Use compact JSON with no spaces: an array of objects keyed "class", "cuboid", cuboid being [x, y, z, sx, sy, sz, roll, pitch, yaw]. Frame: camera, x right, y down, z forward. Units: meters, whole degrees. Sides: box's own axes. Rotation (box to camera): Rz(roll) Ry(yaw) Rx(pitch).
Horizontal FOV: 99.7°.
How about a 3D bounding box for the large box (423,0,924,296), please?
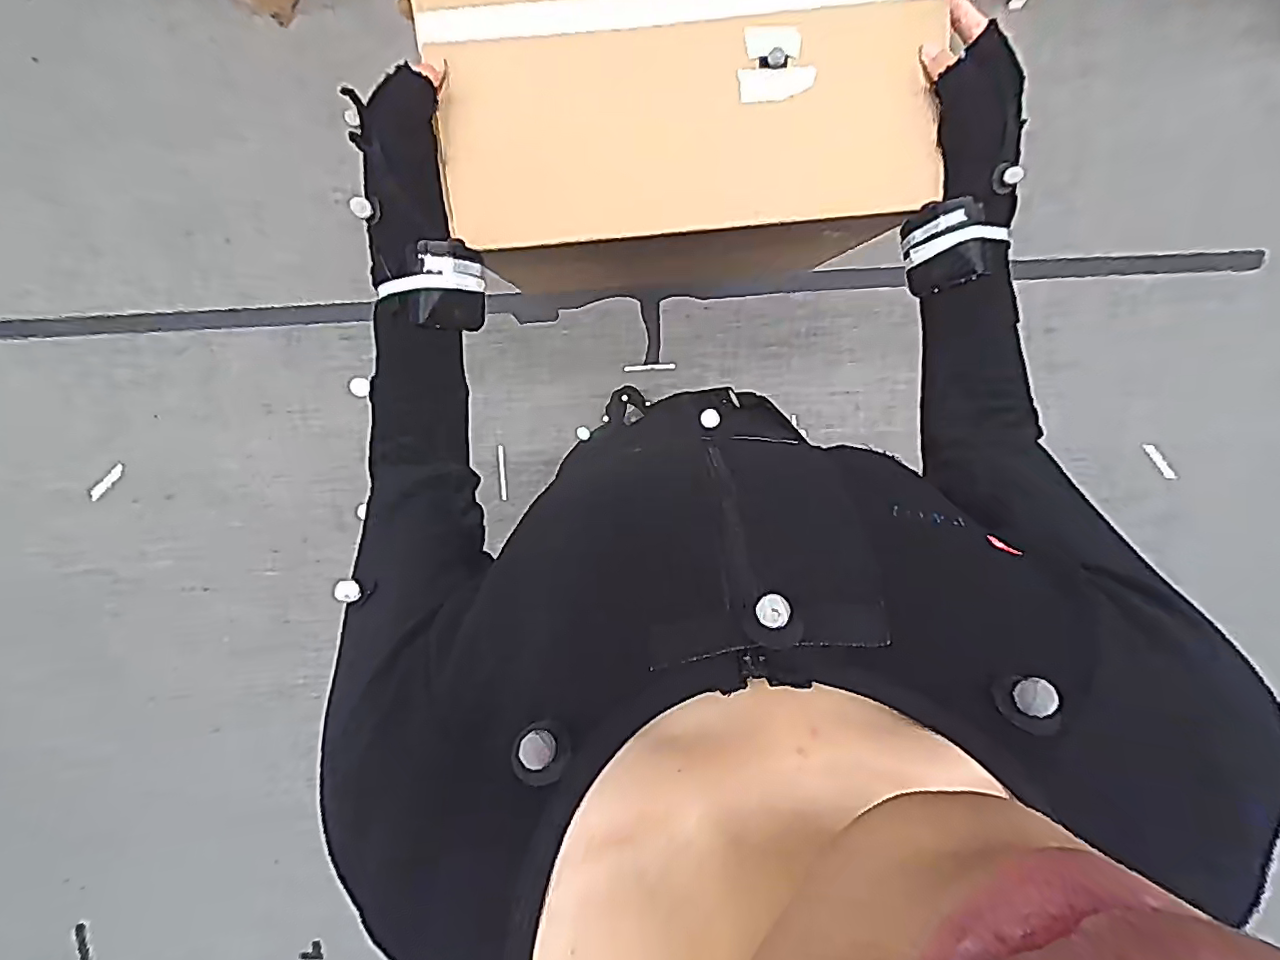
[{"class":"large box","cuboid":[0.024,-0.393,0.576,0.408,0.320,0.320,-6,103,-1]}]
